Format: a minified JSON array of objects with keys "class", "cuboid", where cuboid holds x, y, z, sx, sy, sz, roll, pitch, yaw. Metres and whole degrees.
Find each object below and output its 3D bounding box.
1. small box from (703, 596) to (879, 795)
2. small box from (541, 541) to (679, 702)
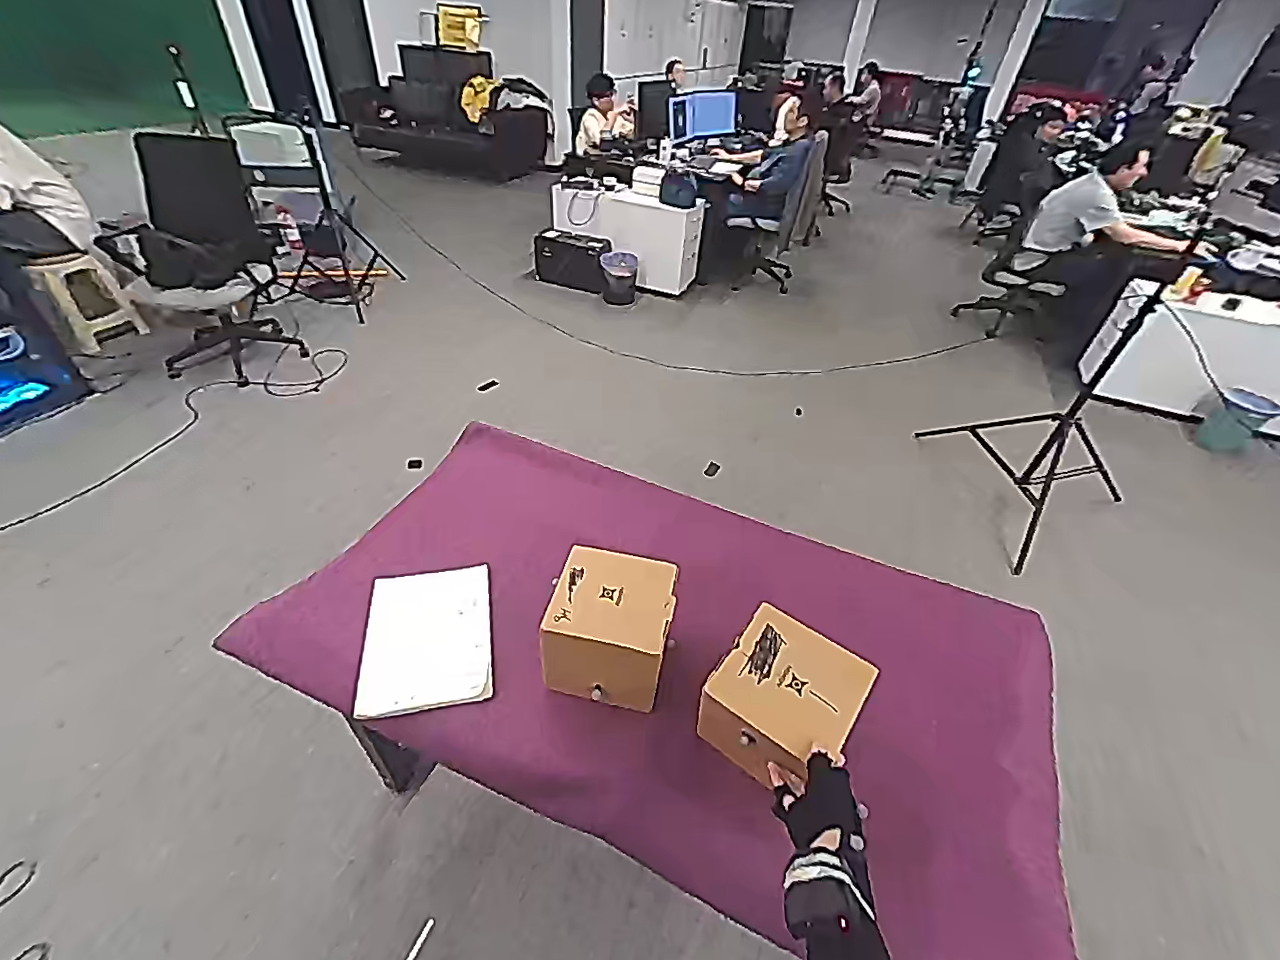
[{"class":"small box","cuboid":[0.203,0.306,0.768,0.179,0.176,0.168,28,53,26]},{"class":"small box","cuboid":[-0.044,0.226,0.856,0.179,0.176,0.168,11,40,6]}]
